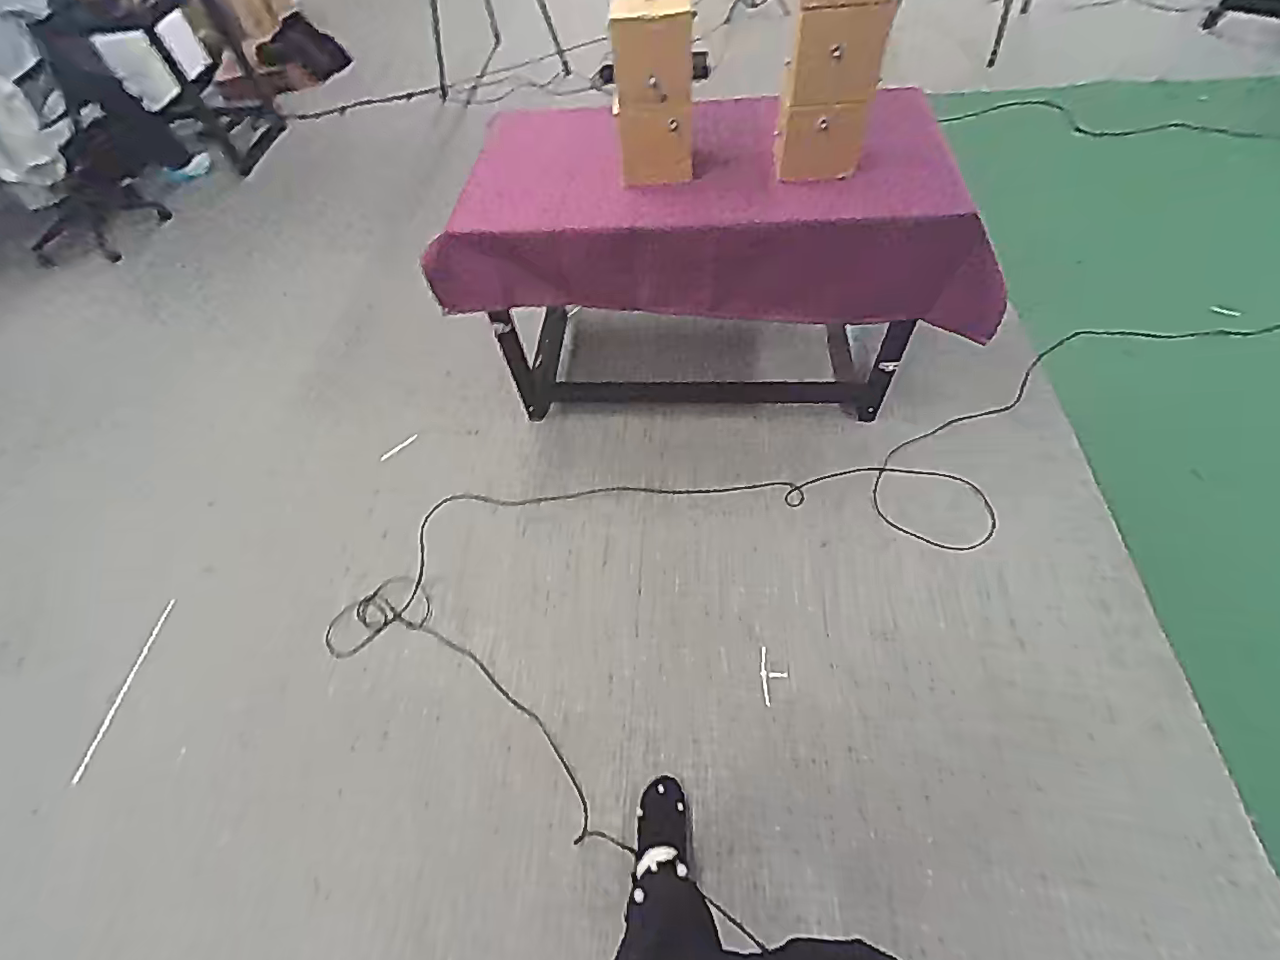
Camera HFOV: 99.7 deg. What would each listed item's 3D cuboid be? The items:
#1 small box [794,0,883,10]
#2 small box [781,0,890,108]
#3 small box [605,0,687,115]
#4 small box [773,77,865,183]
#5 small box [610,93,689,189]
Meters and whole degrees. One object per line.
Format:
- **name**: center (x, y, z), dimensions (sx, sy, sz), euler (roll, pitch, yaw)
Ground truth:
- **small box**: center (0.374, -0.994, 0.988), dimensions (0.179, 0.176, 0.168), euler (0, 58, 8)
- **small box**: center (0.396, -0.906, 1.125), dimensions (0.179, 0.176, 0.168), euler (1, 58, 8)
- **small box**: center (0.018, -0.931, 1.182), dimensions (0.168, 0.176, 0.179), euler (-3, 56, 4)
- **small box**: center (0.407, -0.818, 1.263), dimensions (0.179, 0.176, 0.168), euler (1, 58, 6)
- **small box**: center (0.027, -0.831, 1.315), dimensions (0.179, 0.176, 0.168), euler (-2, 57, 4)
